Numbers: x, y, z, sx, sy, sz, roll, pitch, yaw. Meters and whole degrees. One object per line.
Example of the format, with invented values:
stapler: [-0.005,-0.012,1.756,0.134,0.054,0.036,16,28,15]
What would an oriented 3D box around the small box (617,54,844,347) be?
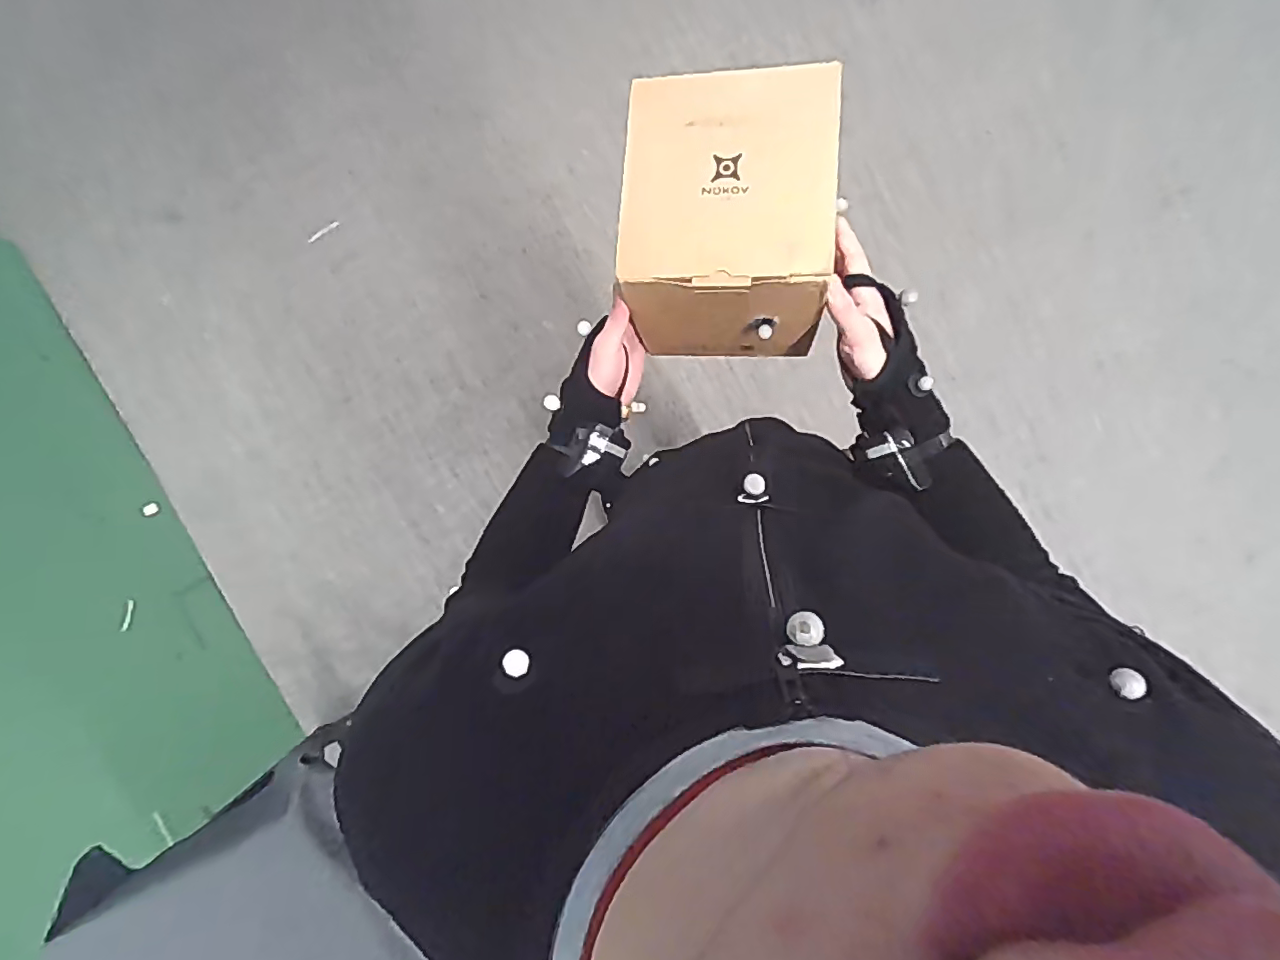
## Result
small box: [0.081,-0.230,0.490,0.168,0.176,0.179,3,83,10]
